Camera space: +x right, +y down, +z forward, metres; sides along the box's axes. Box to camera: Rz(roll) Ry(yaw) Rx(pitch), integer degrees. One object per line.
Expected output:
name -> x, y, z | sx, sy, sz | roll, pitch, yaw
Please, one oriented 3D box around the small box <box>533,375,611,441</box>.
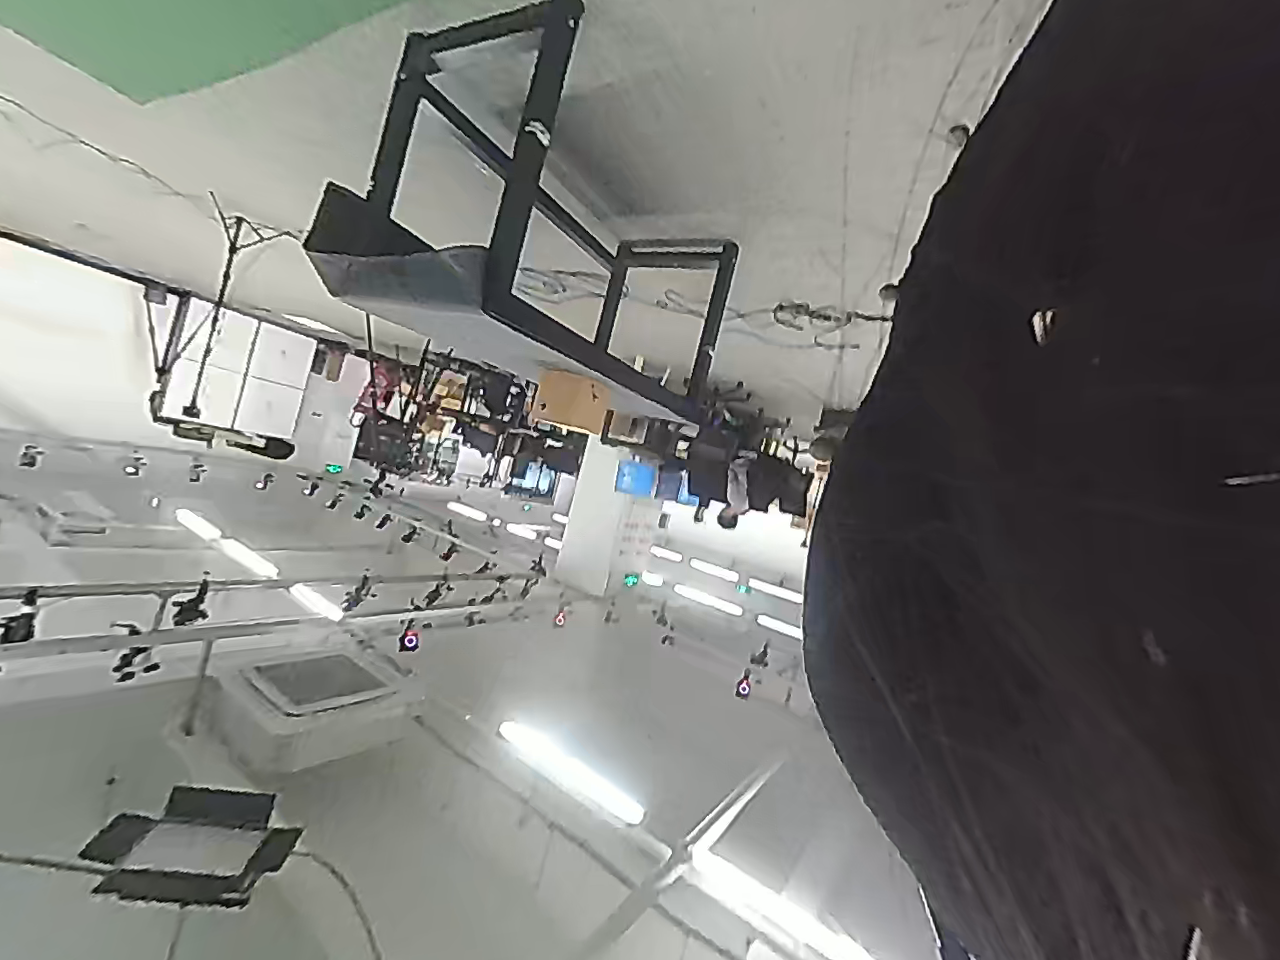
small box -> -0.223, -0.242, 1.801 | 0.179, 0.176, 0.168 | 15, 180, 31
